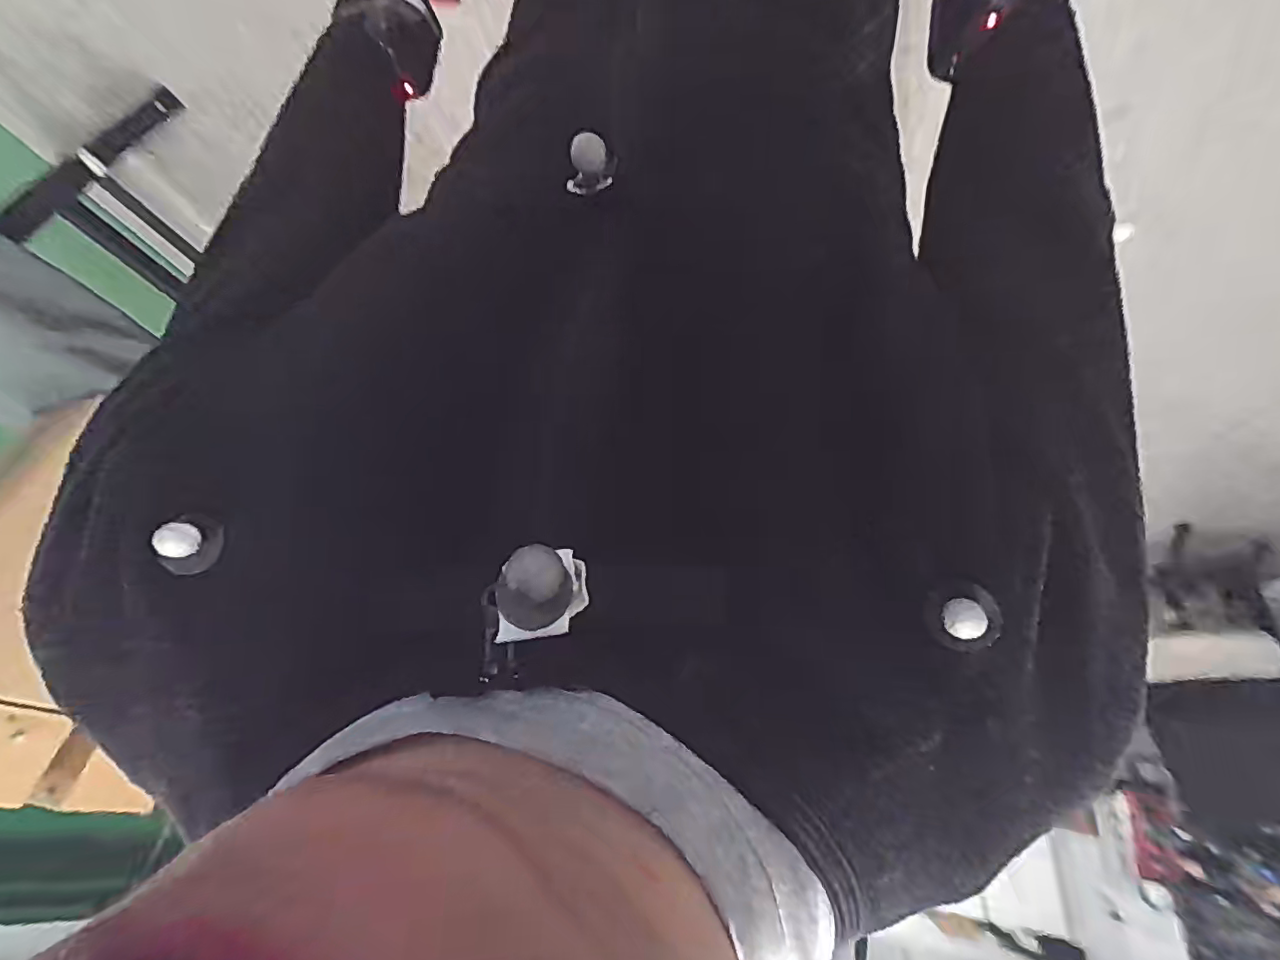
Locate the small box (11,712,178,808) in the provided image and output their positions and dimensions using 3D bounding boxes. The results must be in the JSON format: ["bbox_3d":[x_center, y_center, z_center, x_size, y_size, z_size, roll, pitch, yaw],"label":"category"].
[{"bbox_3d":[-1.217,0.633,1.224,0.168,0.176,0.179,-4,148,16],"label":"small box"}]
